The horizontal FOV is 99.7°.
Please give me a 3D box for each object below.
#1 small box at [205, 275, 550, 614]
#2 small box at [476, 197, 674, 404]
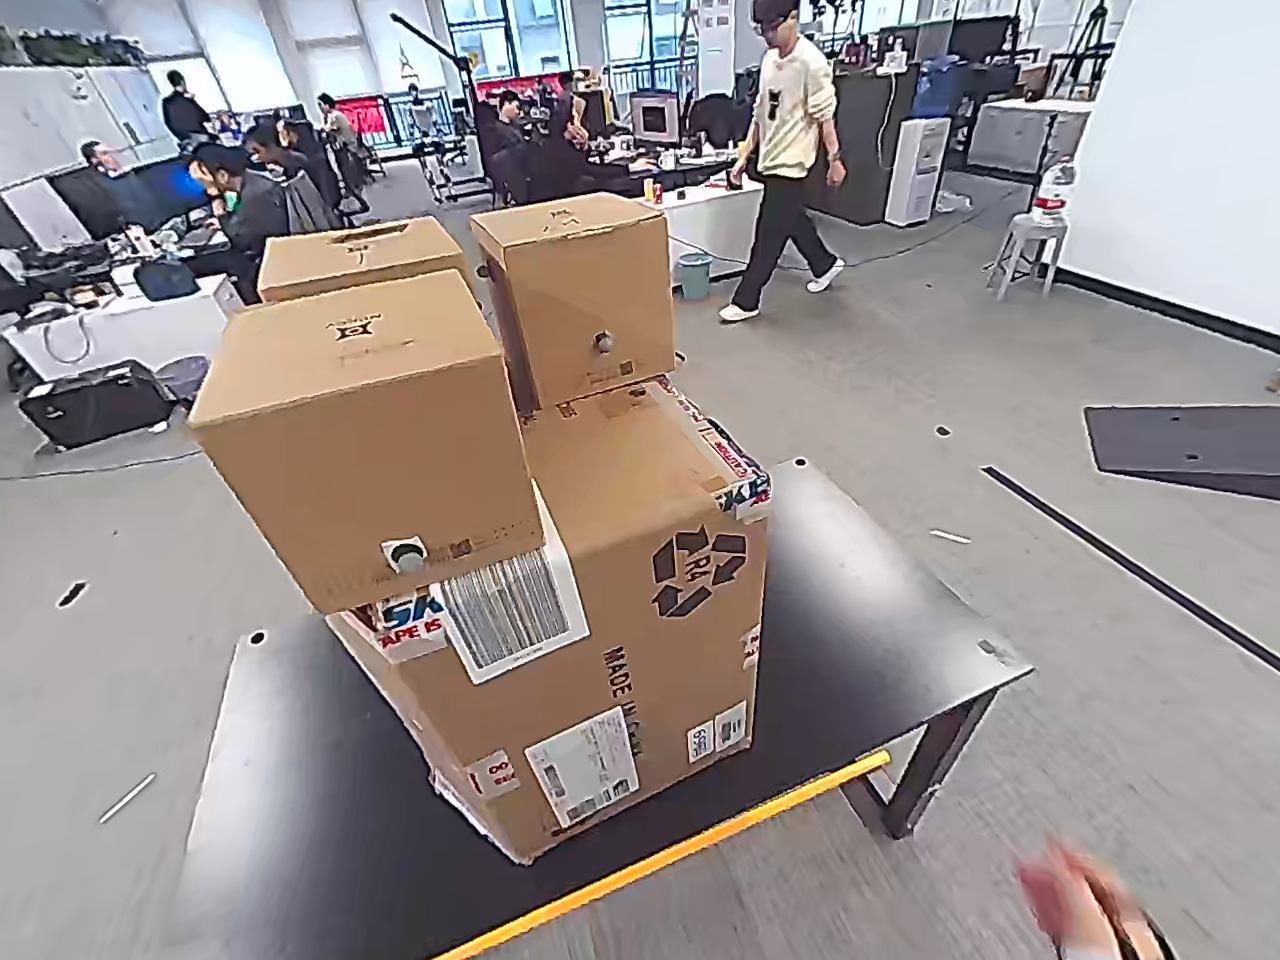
[{"bbox_3d":[-0.179,-0.034,0.411,0.168,0.176,0.179,-19,43,-16],"label":"small box"},{"bbox_3d":[-0.072,-0.209,0.616,0.168,0.176,0.179,-19,39,-16],"label":"small box"}]
